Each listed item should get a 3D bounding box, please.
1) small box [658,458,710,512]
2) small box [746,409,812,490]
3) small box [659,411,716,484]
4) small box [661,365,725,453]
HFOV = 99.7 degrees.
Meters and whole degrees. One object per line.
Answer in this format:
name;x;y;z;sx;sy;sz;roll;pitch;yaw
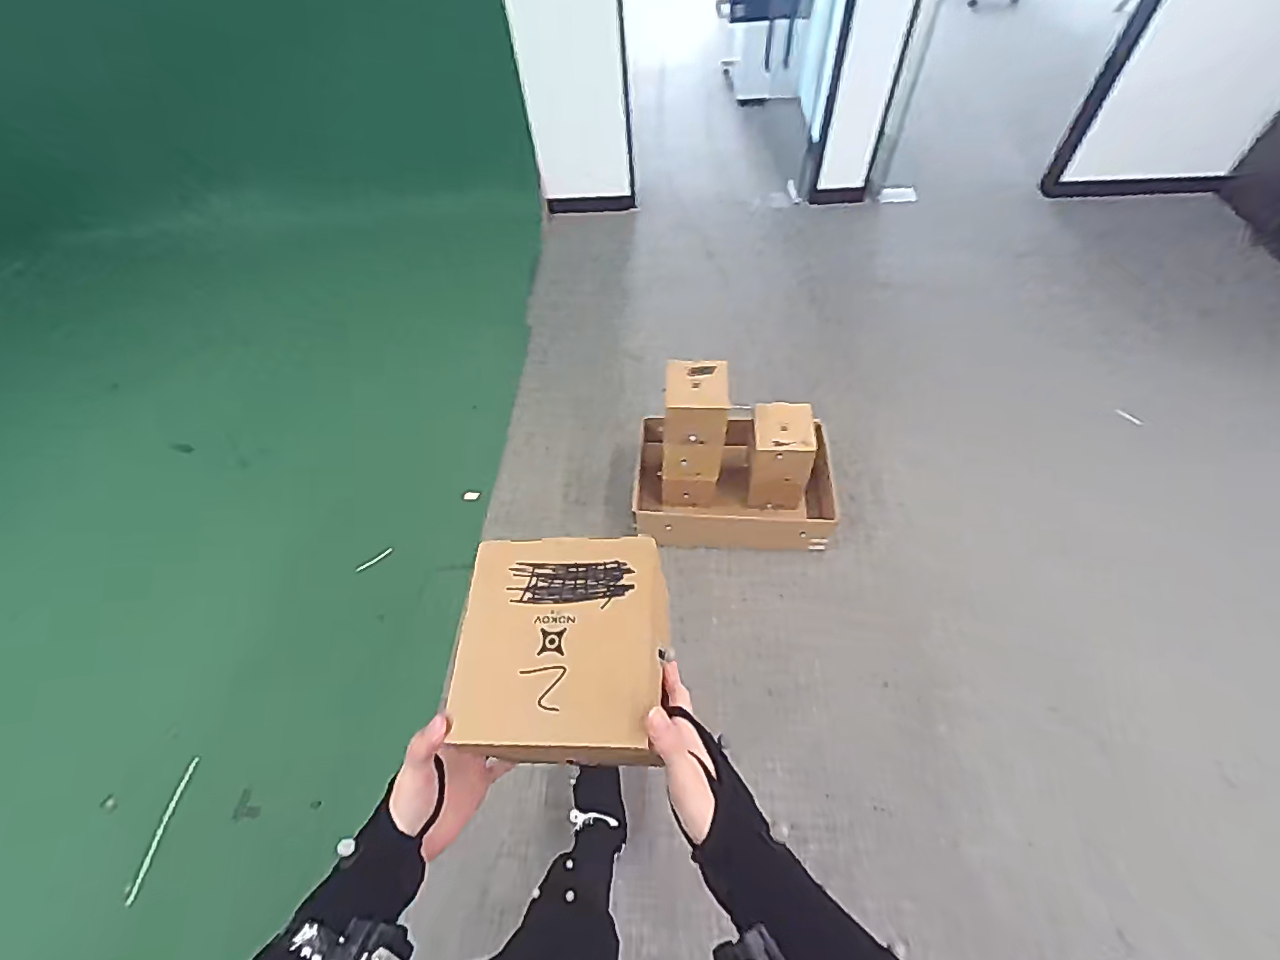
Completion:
small box;0.146;-0.011;1.767;0.168;0.176;0.179;3;55;4
small box;0.408;-0.091;1.612;0.168;0.176;0.179;1;55;6
small box;0.145;-0.103;1.634;0.168;0.176;0.179;2;55;3
small box;0.144;-0.196;1.499;0.168;0.176;0.179;2;56;4
